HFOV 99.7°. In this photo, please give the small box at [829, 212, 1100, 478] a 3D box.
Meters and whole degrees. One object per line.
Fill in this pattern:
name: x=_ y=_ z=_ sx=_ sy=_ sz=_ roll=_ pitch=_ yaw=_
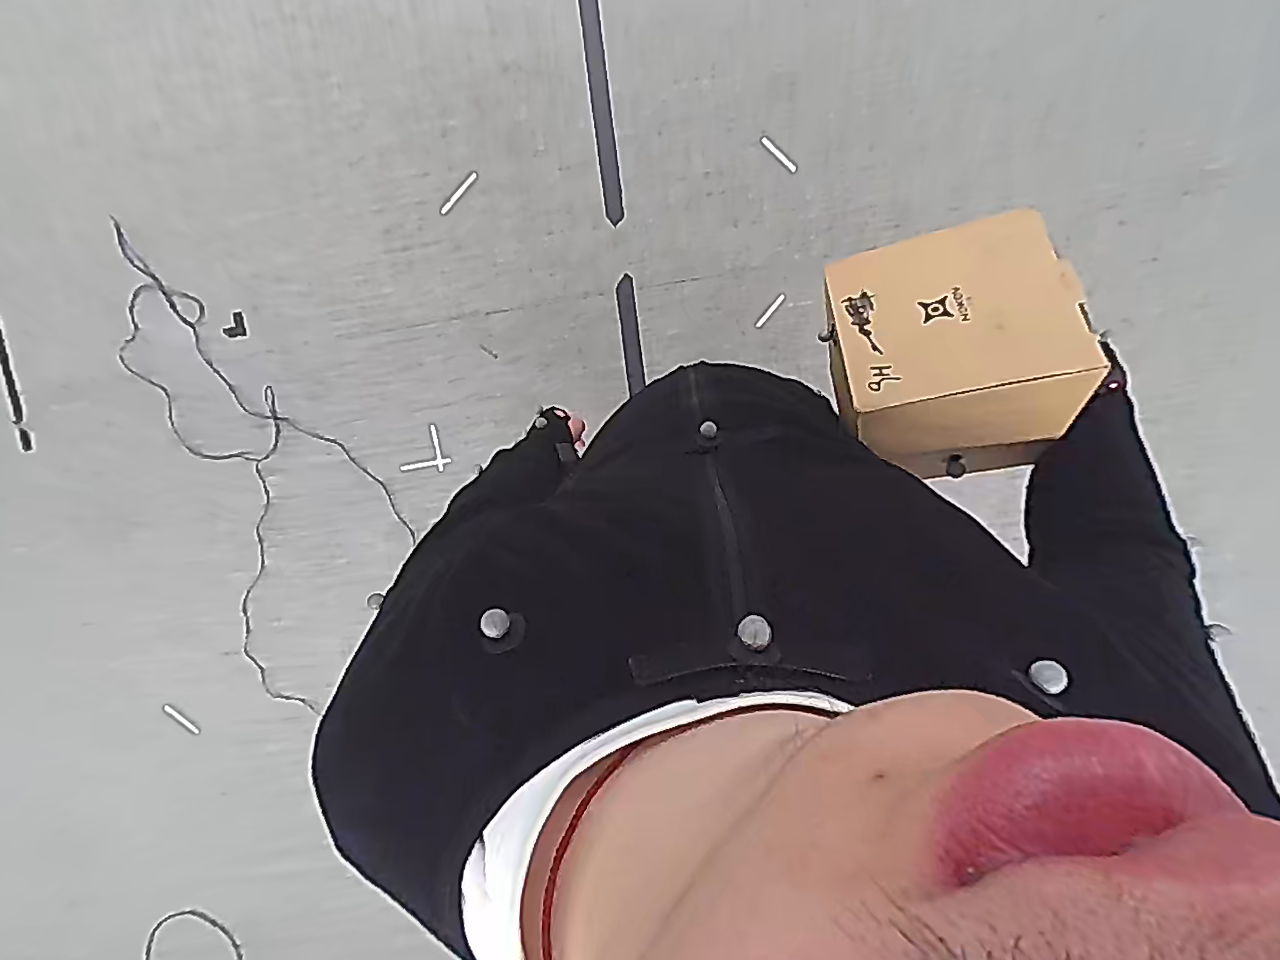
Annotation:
small box: x=0.289 y=-0.116 z=0.530 sx=0.179 sy=0.176 sz=0.168 roll=-10 pitch=63 yaw=18
